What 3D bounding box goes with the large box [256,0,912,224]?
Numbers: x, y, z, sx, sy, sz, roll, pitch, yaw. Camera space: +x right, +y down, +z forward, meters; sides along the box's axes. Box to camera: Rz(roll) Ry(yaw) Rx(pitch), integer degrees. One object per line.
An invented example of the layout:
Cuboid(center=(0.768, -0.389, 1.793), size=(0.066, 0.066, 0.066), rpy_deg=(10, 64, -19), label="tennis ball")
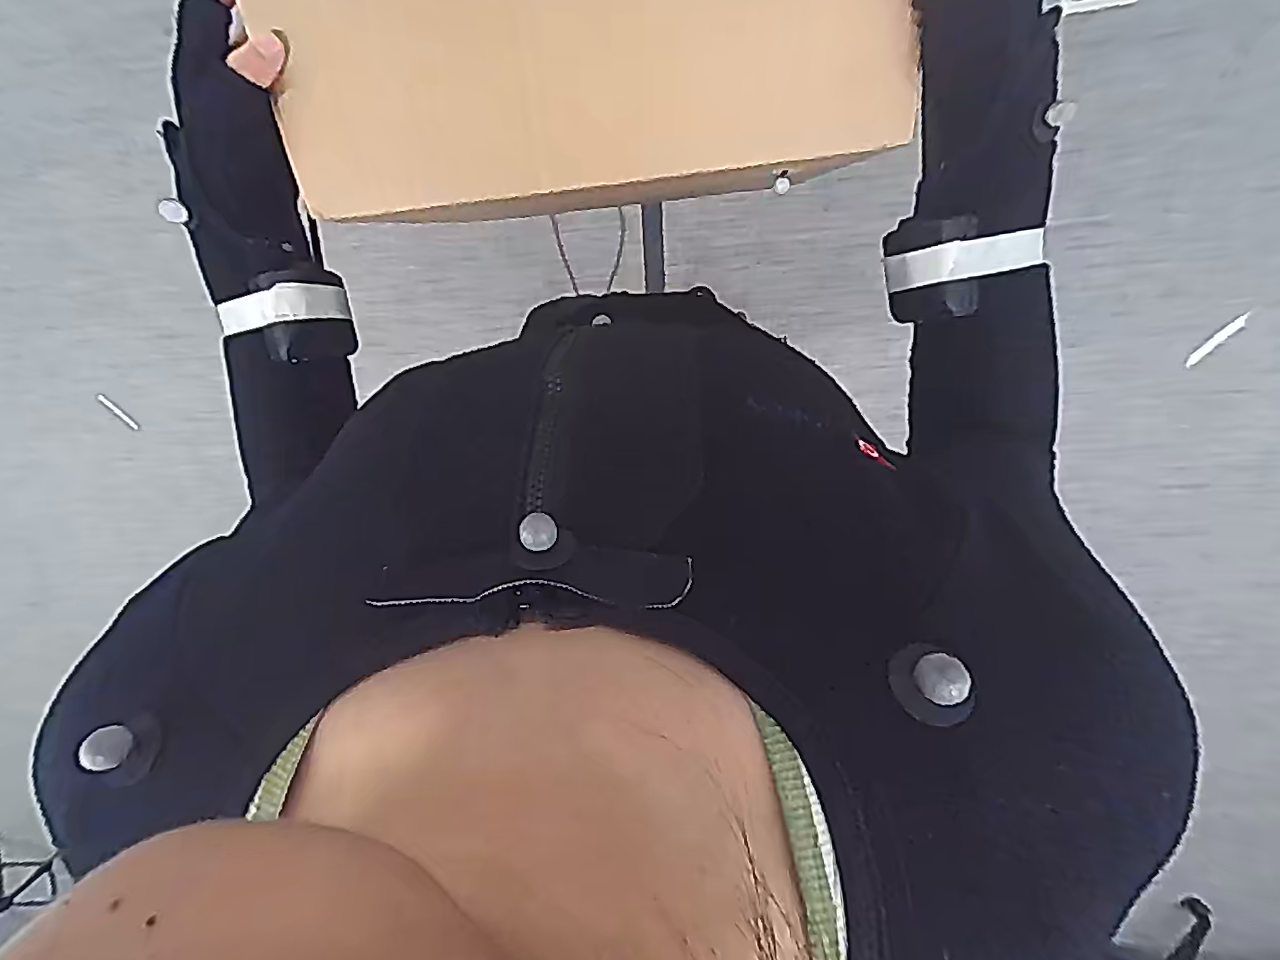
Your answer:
Cuboid(center=(-0.036, -0.404, 0.440), size=(0.408, 0.320, 0.320), rpy_deg=(-5, 114, 5), label="large box")
